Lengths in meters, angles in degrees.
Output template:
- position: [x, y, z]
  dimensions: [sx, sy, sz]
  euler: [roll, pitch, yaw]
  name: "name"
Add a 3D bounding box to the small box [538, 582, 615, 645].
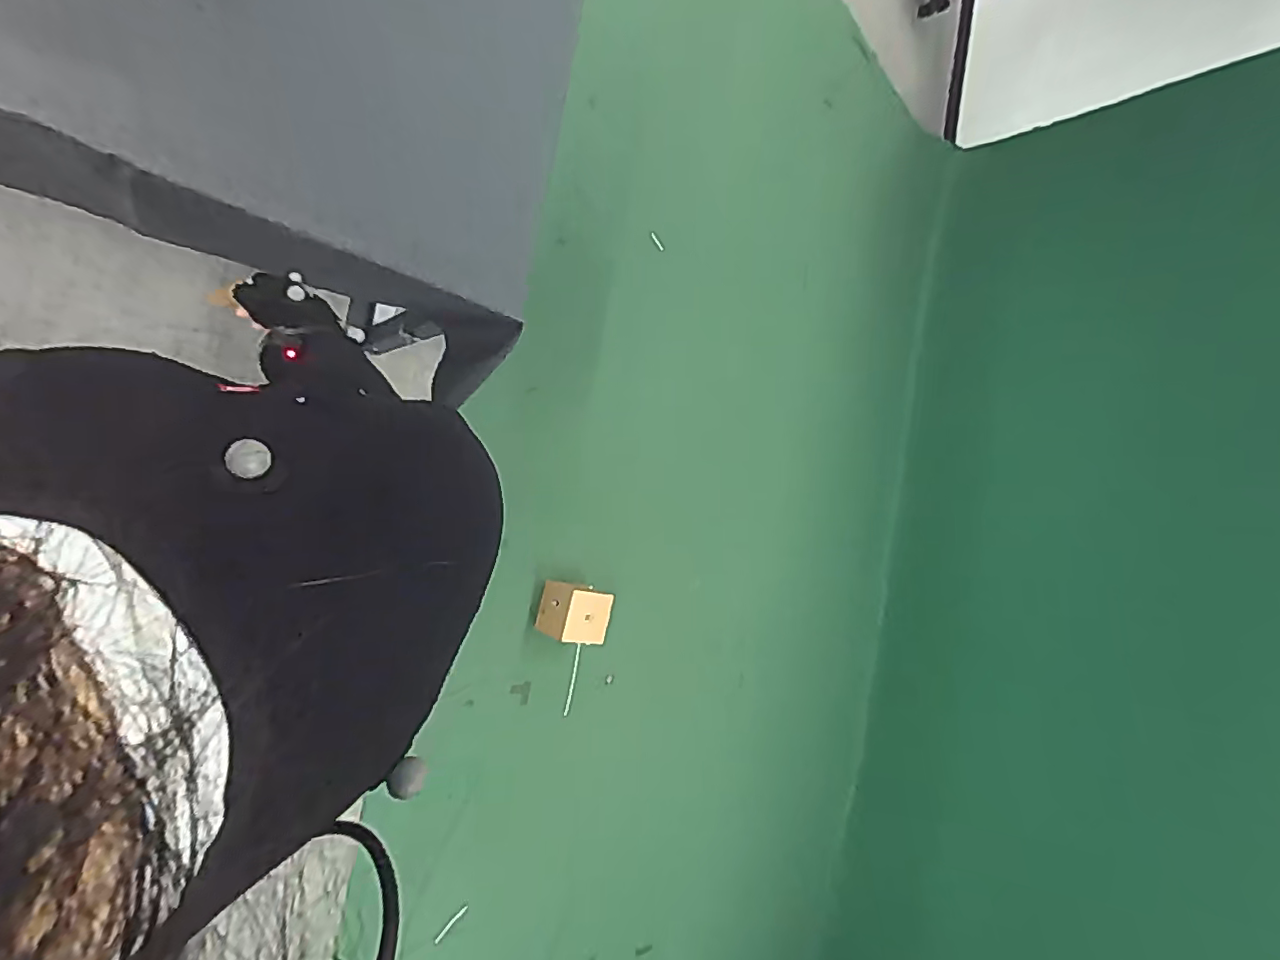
- position: [-0.215, 0.441, 1.797]
  dimensions: [0.179, 0.176, 0.168]
  euler: [19, 80, -42]
  name: "small box"
